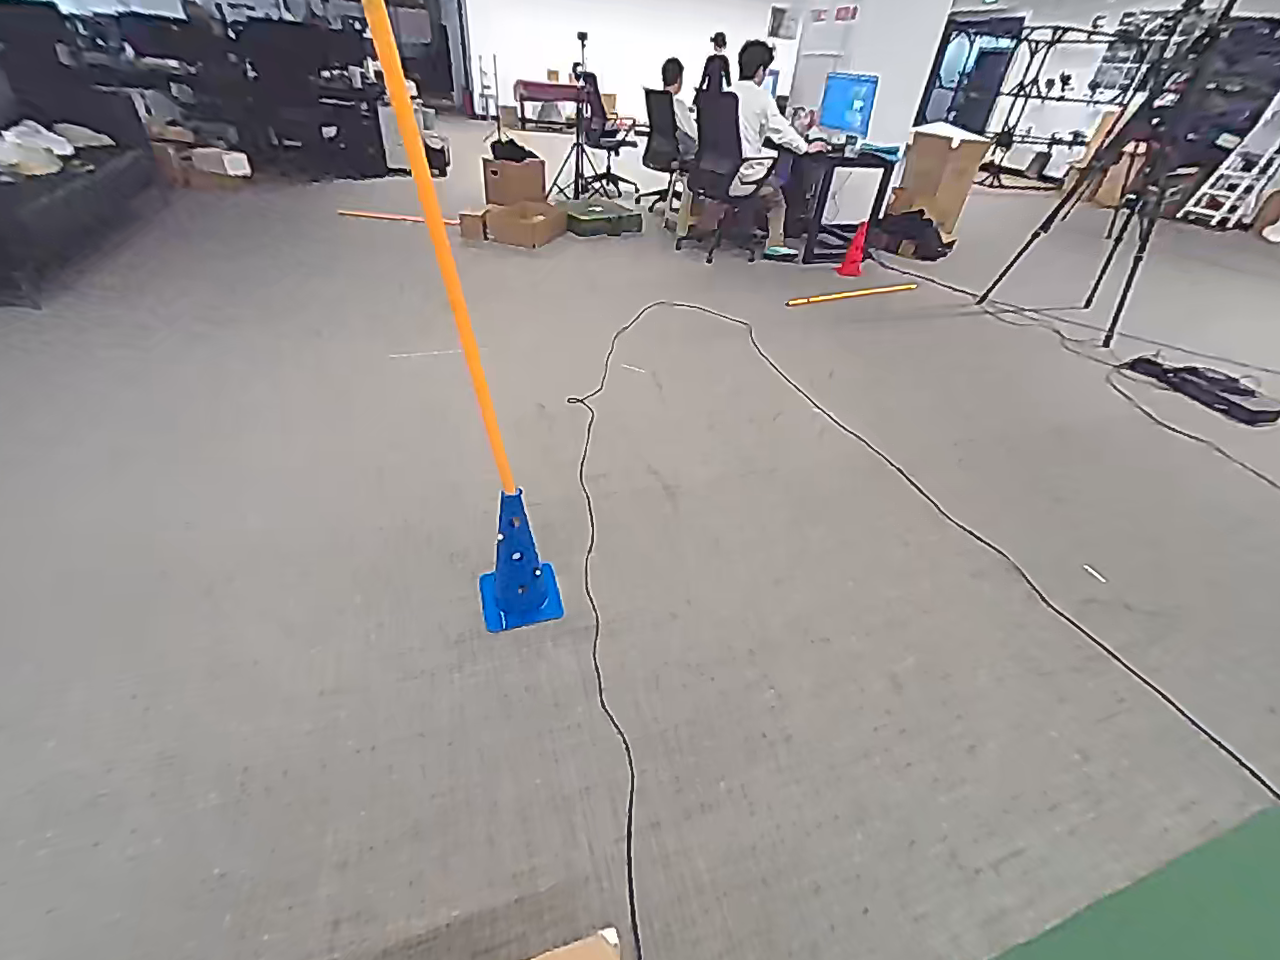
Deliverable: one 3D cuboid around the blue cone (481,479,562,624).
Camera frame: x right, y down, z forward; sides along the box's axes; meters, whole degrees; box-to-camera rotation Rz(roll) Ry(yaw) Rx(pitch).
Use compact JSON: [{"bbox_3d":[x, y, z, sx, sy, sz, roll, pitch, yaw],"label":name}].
[{"bbox_3d":[-0.303,0.161,1.318,0.193,0.380,0.192,-11,40,-18],"label":"blue cone"}]
